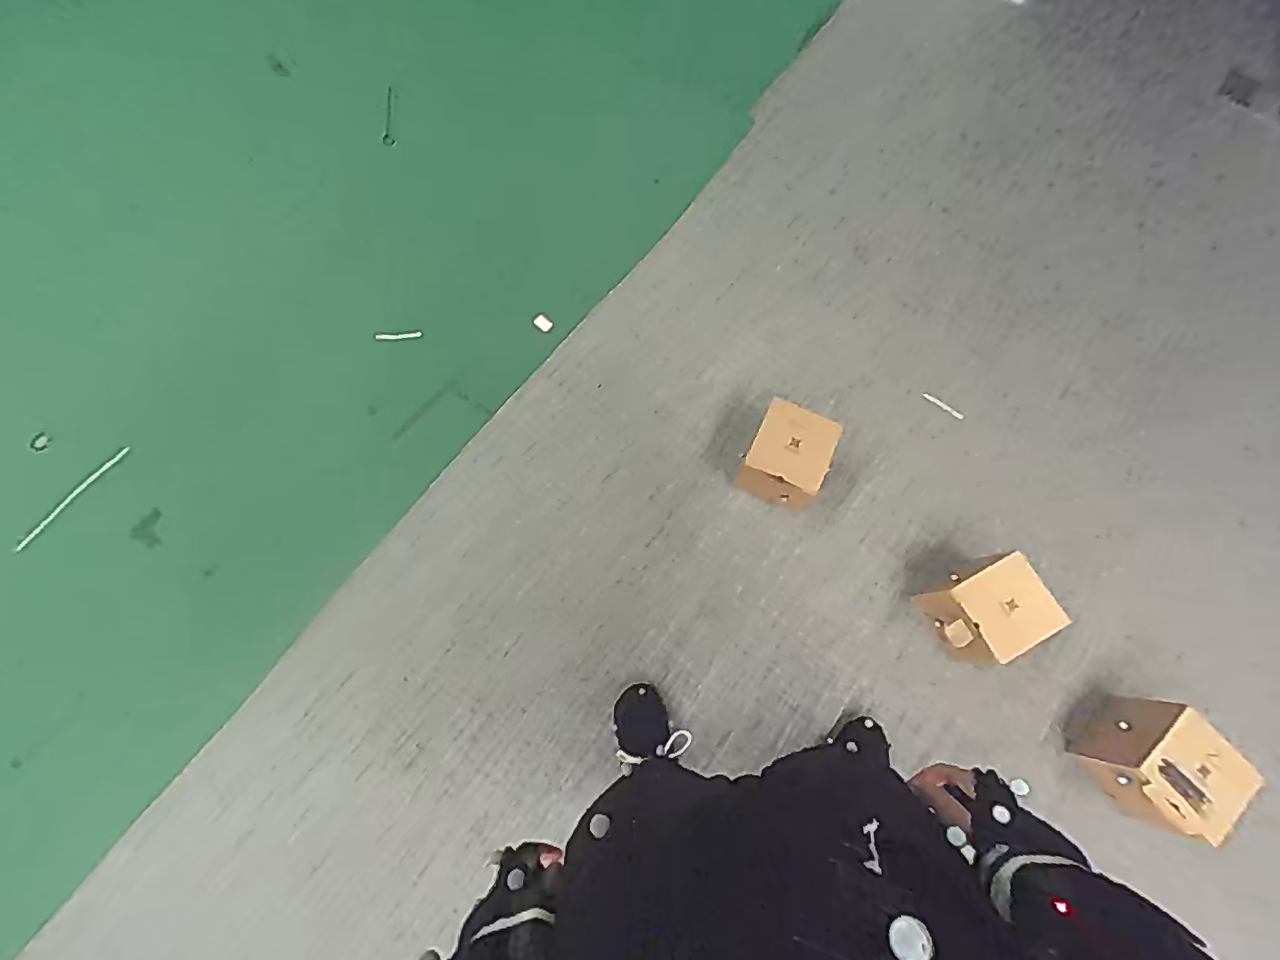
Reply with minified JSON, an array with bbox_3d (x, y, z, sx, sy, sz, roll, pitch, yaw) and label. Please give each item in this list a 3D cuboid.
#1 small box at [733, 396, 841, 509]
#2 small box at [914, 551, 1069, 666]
[{"bbox_3d":[0.322,-0.053,1.221,0.168,0.176,0.179,25,73,5],"label":"small box"},{"bbox_3d":[0.721,0.268,1.132,0.179,0.176,0.168,-27,76,-7],"label":"small box"}]
